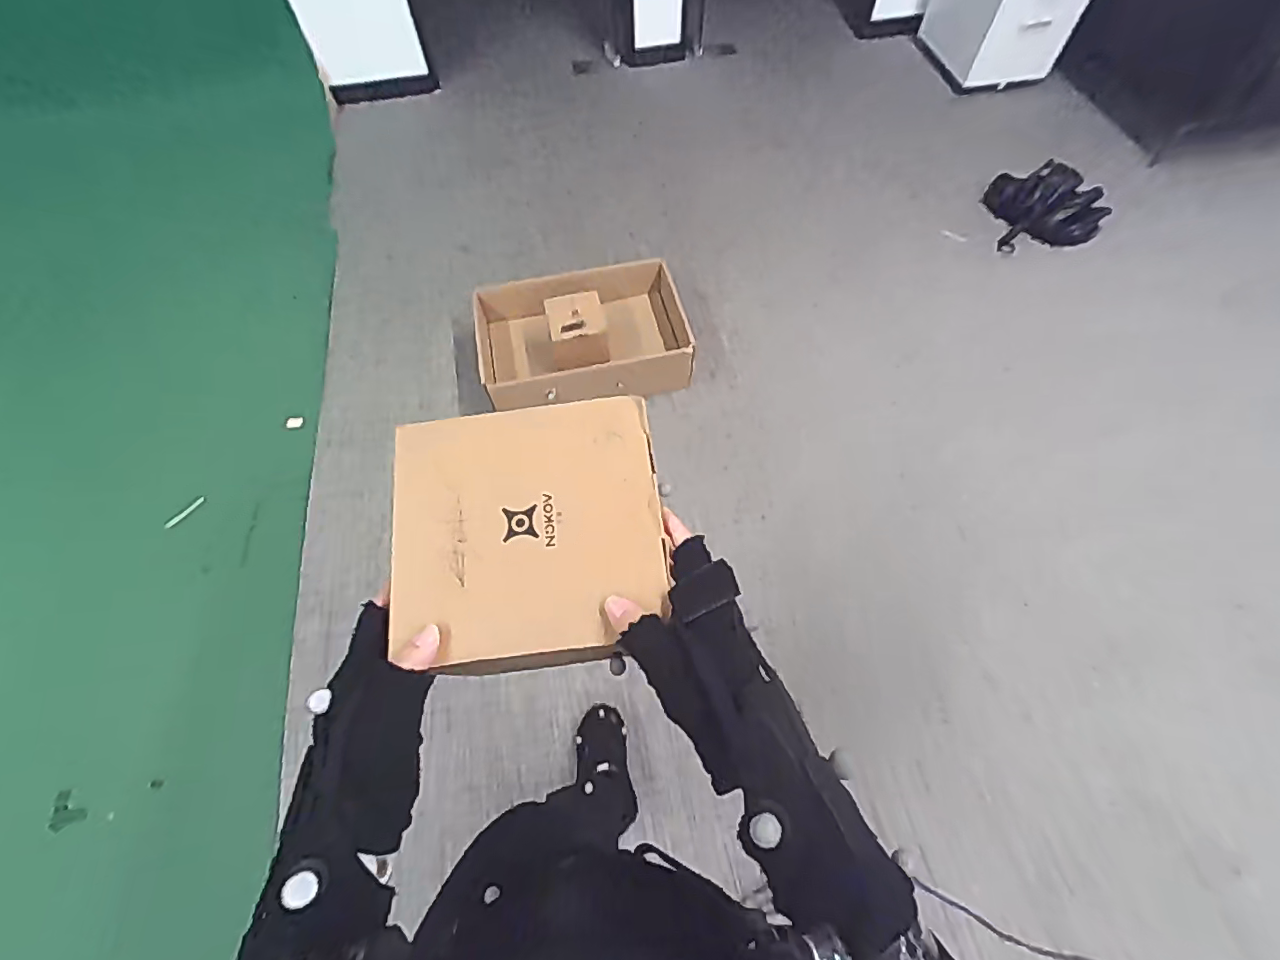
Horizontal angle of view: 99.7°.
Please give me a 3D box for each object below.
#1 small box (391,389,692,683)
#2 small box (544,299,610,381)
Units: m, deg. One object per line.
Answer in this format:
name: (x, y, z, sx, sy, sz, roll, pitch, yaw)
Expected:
small box: (-0.068, 0.054, 0.417, 0.179, 0.176, 0.168, -11, 69, -3)
small box: (-0.190, -0.422, 1.667, 0.168, 0.176, 0.179, -12, 61, -6)
